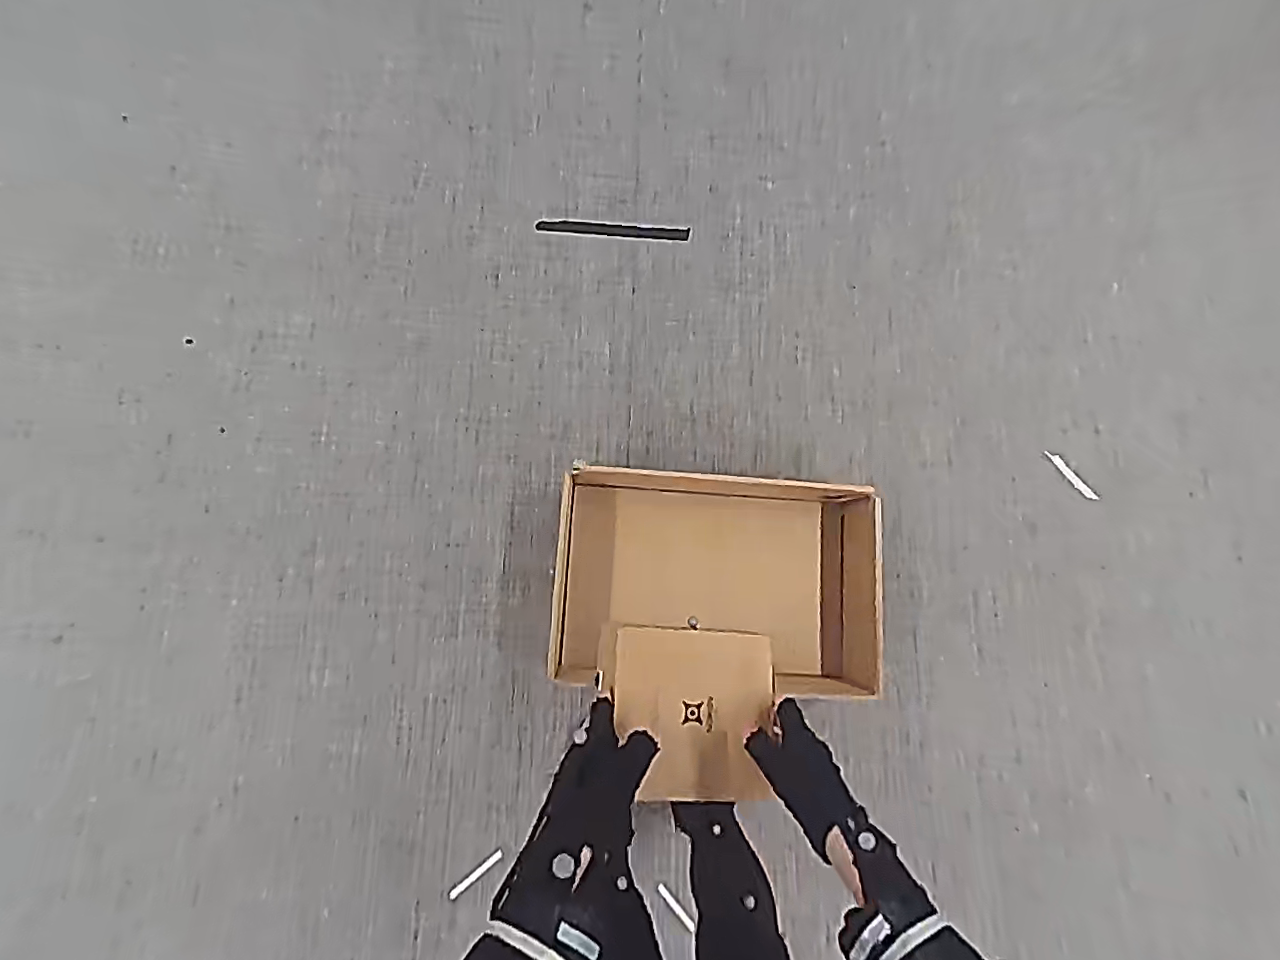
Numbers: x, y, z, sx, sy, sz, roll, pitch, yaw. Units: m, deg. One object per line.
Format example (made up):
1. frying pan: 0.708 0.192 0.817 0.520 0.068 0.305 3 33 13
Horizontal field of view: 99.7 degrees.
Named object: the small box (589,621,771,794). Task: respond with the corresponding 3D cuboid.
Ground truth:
1. small box: 0.040 0.257 0.644 0.179 0.176 0.168 5 75 -10
